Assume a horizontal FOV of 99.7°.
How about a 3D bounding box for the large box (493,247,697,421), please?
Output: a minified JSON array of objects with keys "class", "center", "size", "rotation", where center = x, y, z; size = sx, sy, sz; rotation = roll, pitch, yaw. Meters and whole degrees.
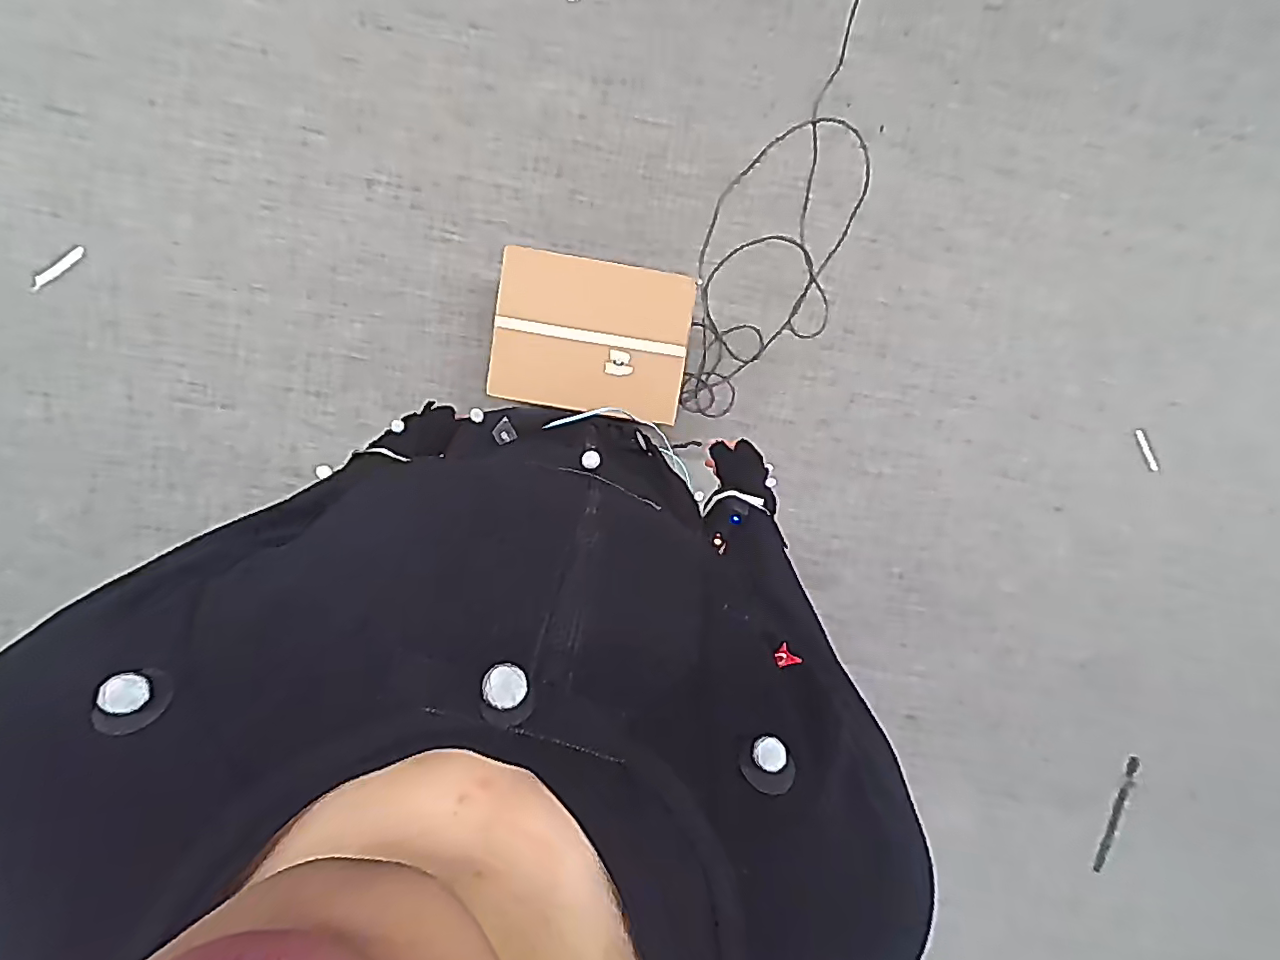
[{"class":"large box","center":[-0.105,-0.321,1.289],"size":[0.408,0.320,0.320],"rotation":[9,97,-4]}]
